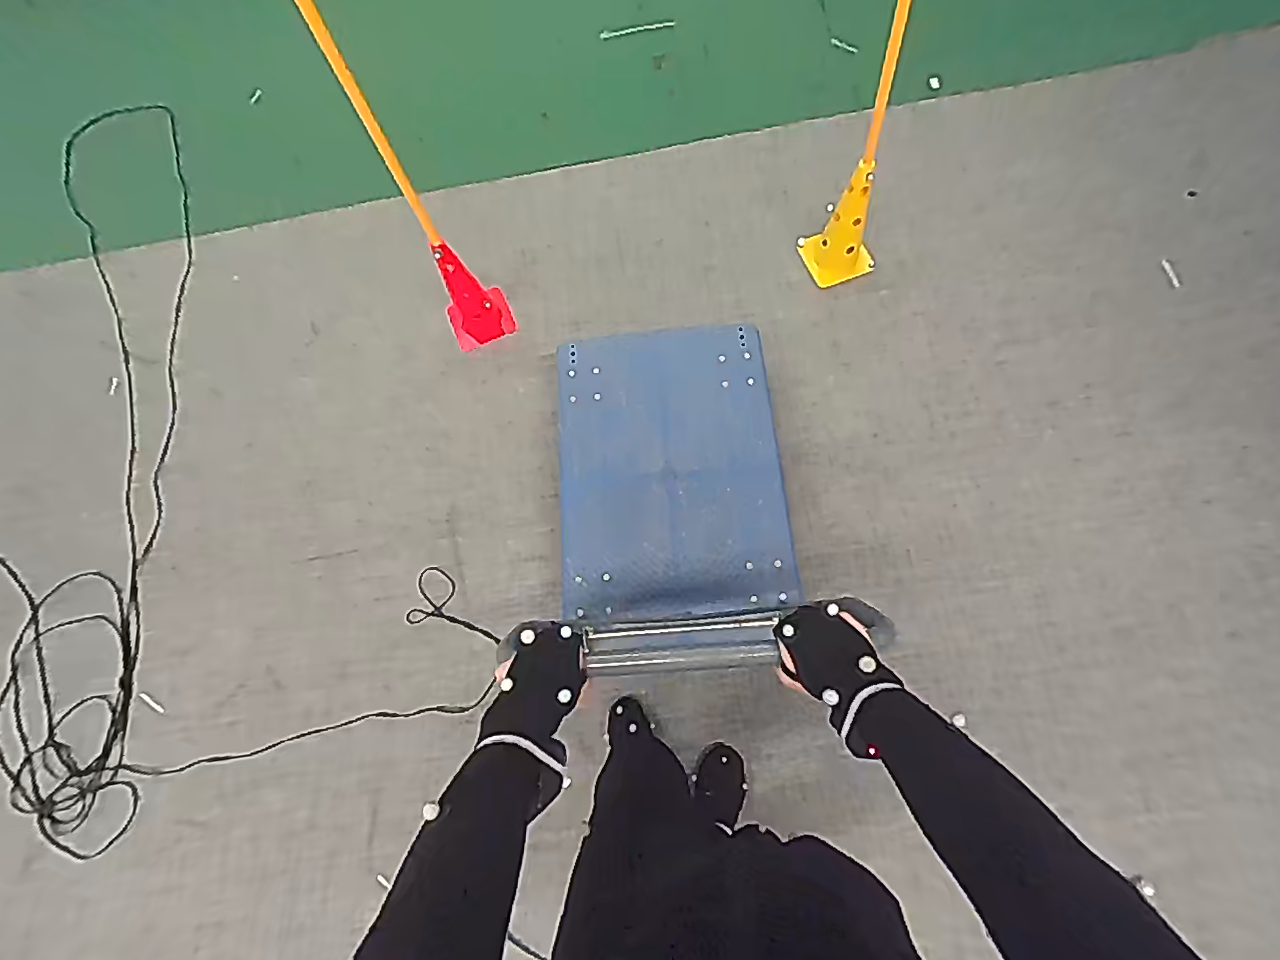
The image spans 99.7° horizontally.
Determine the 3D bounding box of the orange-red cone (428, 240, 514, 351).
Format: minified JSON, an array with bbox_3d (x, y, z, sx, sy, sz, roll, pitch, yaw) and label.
[{"bbox_3d":[-0.548,-0.587,1.643,0.199,0.360,0.198,-24,71,-2],"label":"orange-red cone"}]
